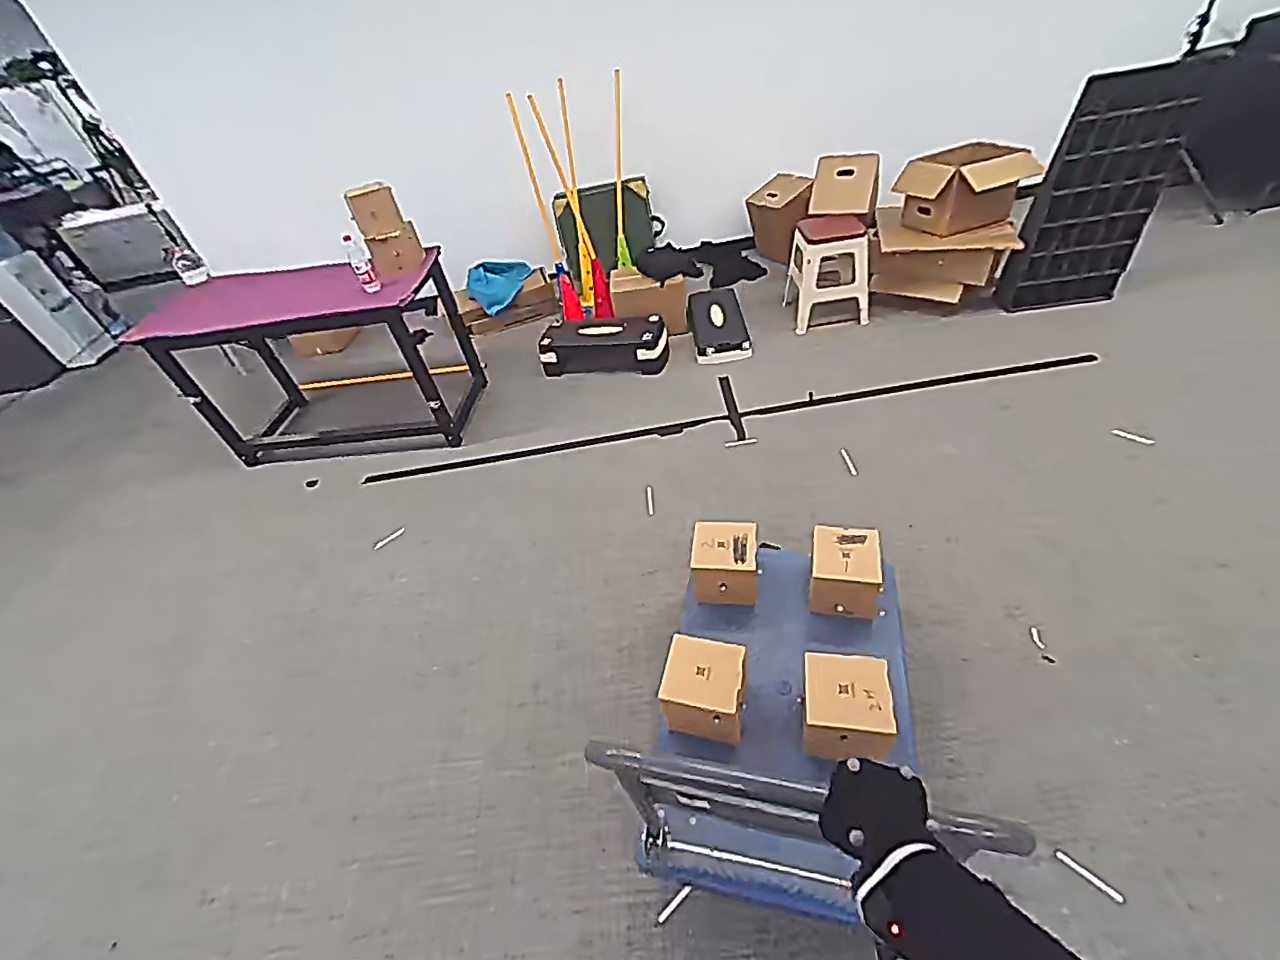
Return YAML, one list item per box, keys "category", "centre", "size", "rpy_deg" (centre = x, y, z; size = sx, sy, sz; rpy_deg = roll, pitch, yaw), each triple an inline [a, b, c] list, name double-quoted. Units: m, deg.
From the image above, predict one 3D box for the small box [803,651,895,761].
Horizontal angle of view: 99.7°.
- category: "small box"
  centre: [0.454, 0.504, 1.204]
  size: [0.179, 0.176, 0.168]
  rpy_deg: [1, 44, 14]

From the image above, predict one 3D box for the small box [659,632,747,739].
- category: "small box"
  centre: [0.156, 0.490, 1.286]
  size: [0.179, 0.176, 0.168]
  rpy_deg: [6, 45, 17]

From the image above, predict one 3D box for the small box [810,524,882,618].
- category: "small box"
  centre: [0.550, 0.245, 1.460]
  size: [0.168, 0.176, 0.179]
  rpy_deg: [4, 46, 16]
